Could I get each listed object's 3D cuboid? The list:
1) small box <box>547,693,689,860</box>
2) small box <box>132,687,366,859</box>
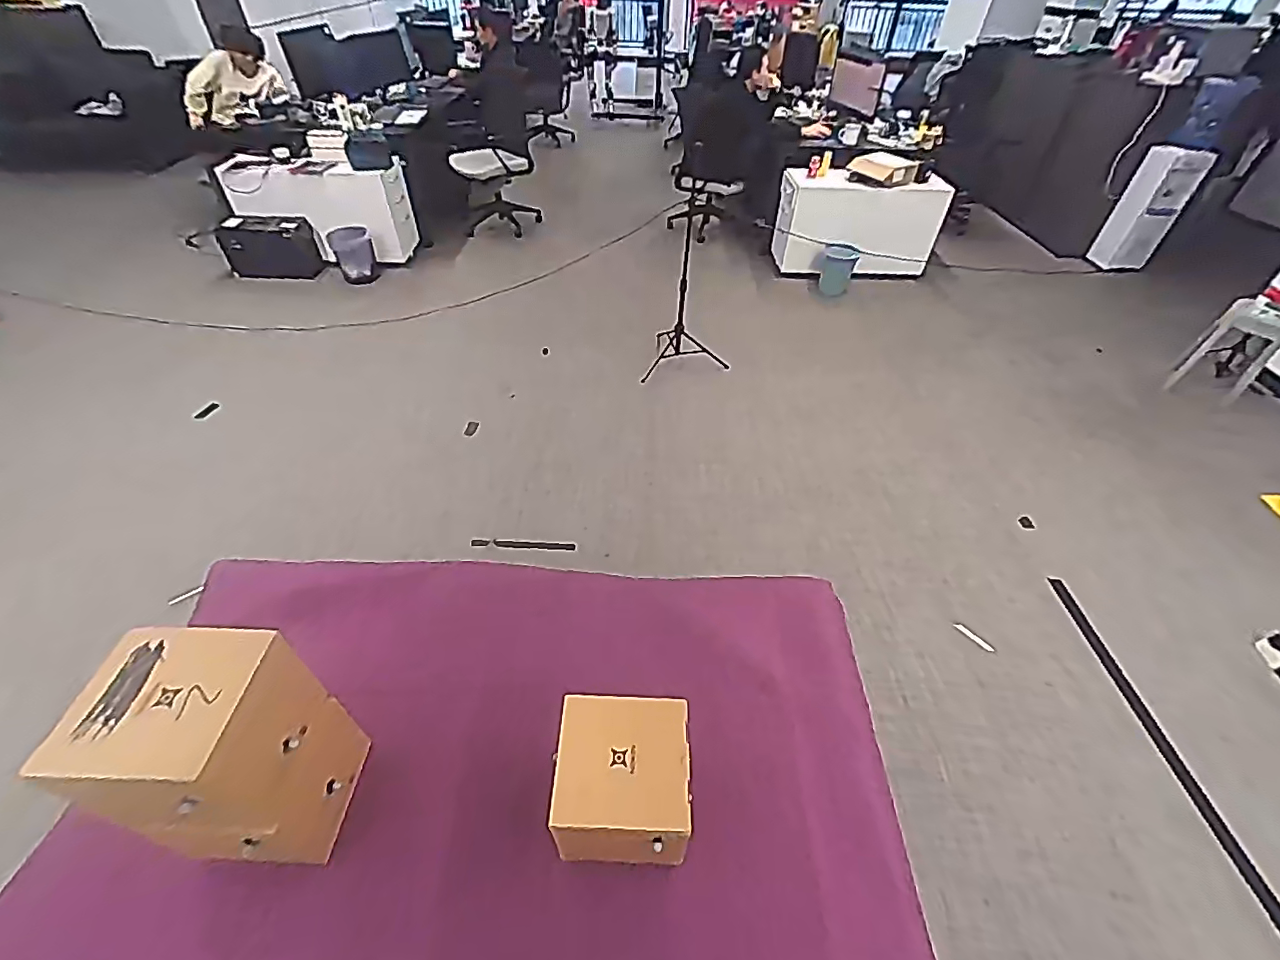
[{"bbox_3d":[-0.026,0.419,0.762,0.179,0.176,0.168,3,44,0],"label":"small box"},{"bbox_3d":[-0.514,0.408,0.750,0.179,0.176,0.168,3,44,0],"label":"small box"}]
